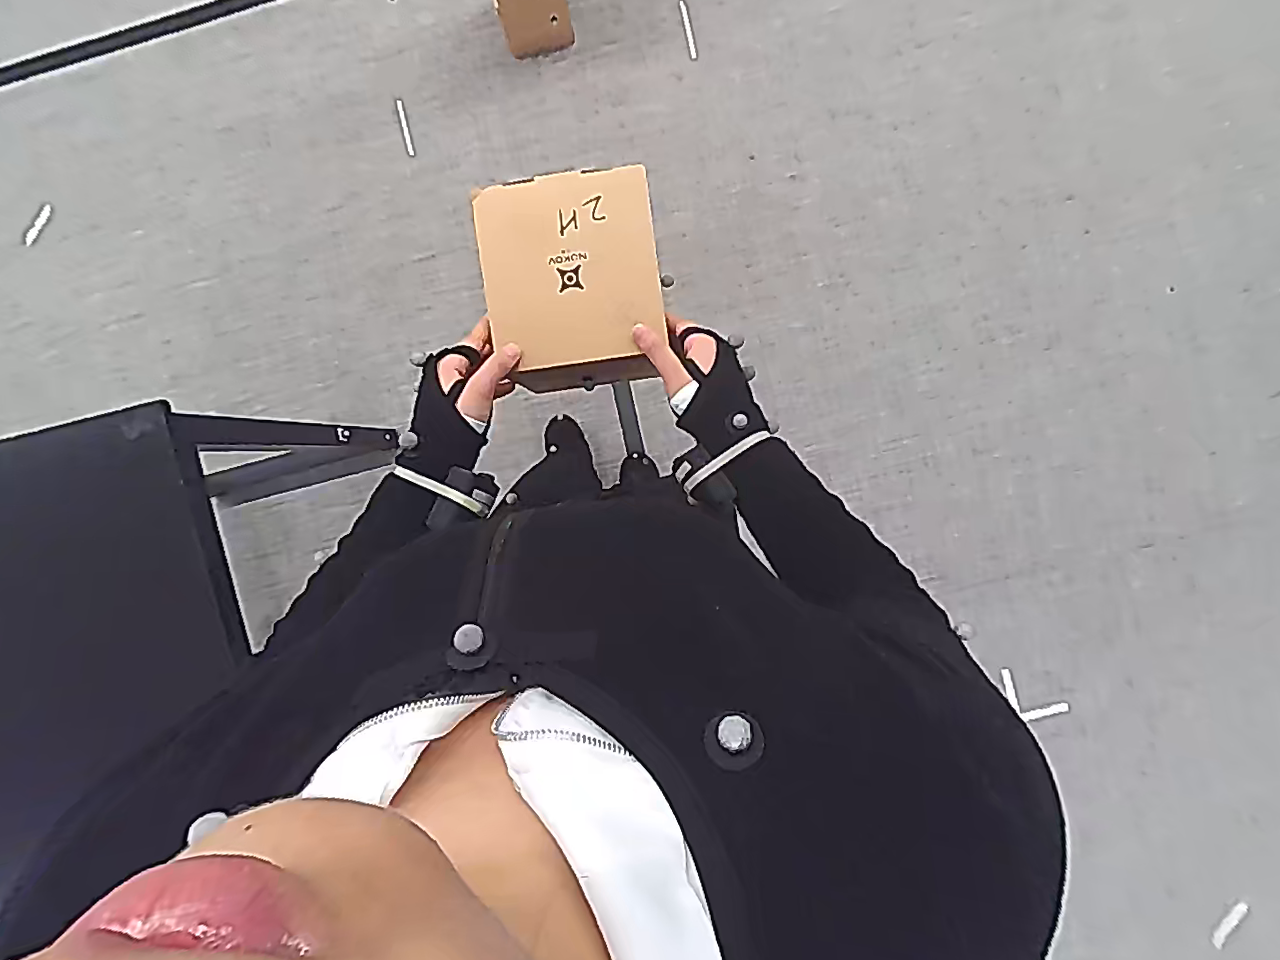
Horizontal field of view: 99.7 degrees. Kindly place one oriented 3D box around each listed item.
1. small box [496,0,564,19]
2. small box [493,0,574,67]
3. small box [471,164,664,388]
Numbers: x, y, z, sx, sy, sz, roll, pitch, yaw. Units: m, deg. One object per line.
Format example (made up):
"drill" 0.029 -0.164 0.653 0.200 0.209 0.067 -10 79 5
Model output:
"small box" -0.277 -1.202 1.212 0.168 0.176 0.179 -16 90 2
"small box" -0.273 -1.209 1.376 0.179 0.176 0.168 -14 91 4
"small box" -0.064 -0.199 0.582 0.168 0.176 0.179 -8 91 2
